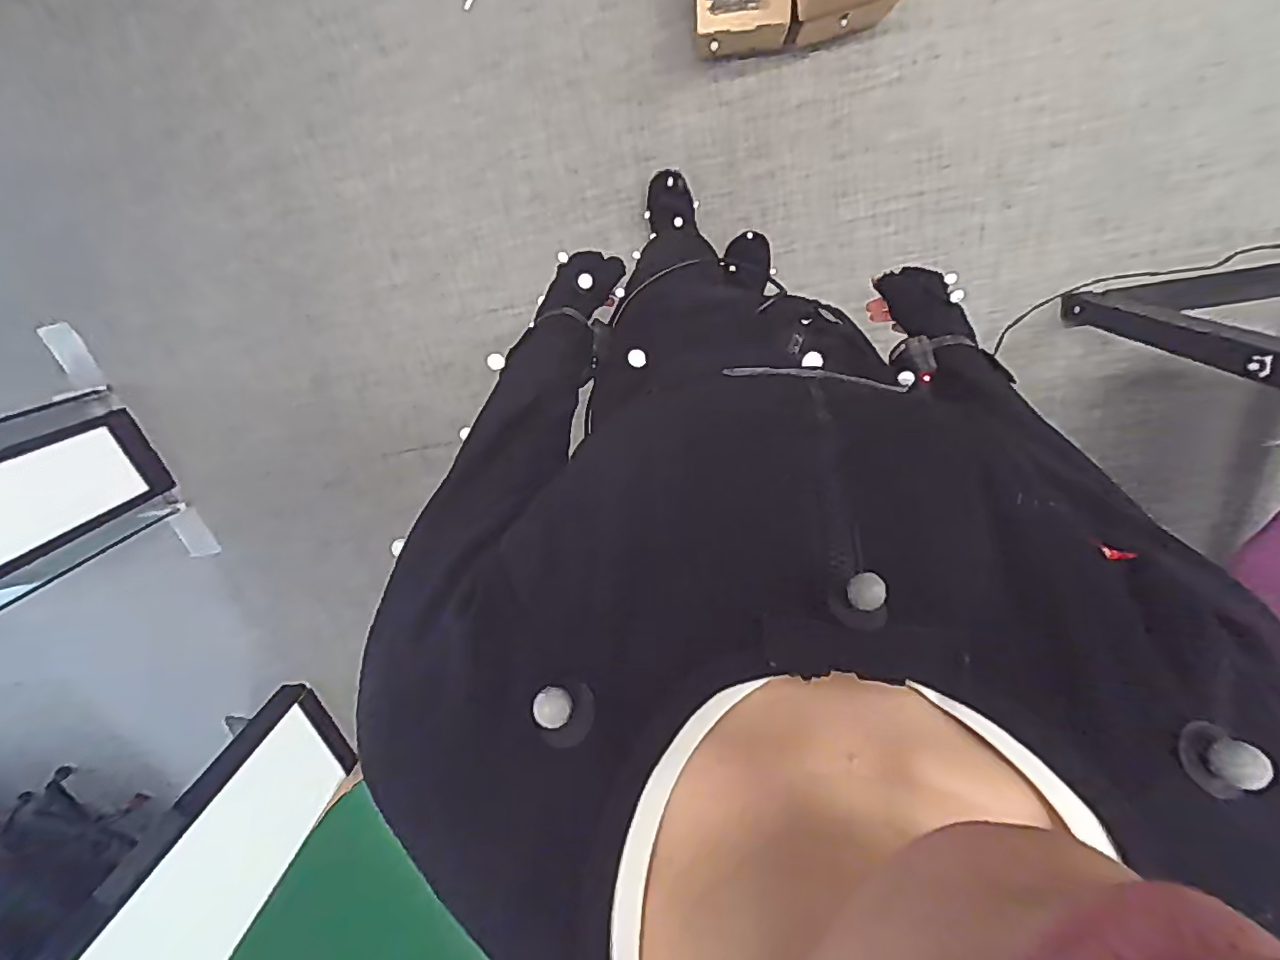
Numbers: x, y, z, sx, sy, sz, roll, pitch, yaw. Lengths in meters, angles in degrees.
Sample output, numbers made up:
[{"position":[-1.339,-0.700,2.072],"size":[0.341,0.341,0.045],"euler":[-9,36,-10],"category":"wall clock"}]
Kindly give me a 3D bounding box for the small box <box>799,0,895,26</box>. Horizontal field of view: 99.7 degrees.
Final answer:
[{"position":[0.340,-0.846,0.837],"size":[0.179,0.176,0.168],"euler":[-8,115,12],"category":"small box"}]
